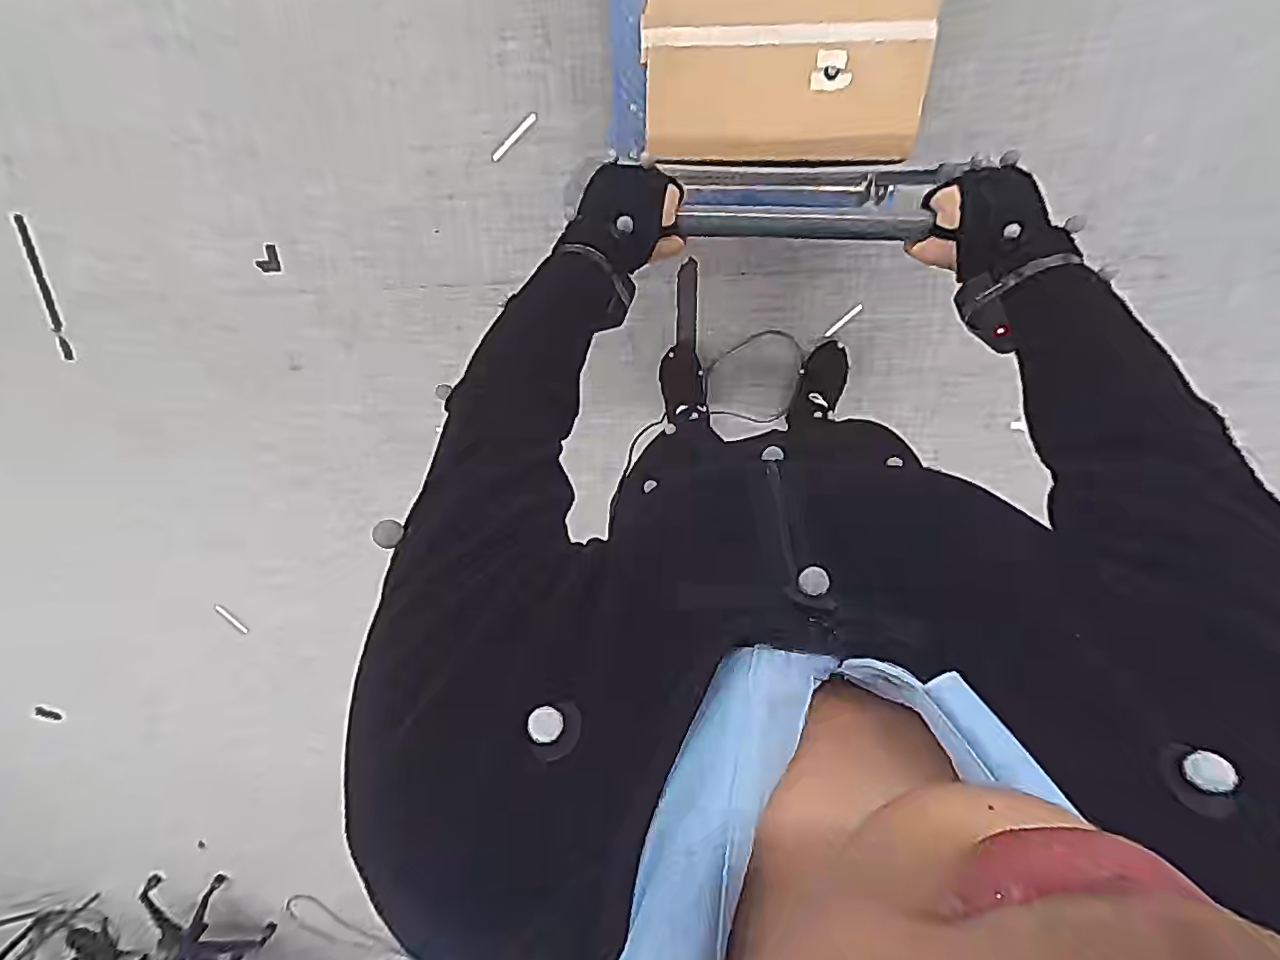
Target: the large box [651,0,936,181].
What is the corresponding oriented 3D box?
[{"bbox_3d":[0.228,-0.702,0.920,0.408,0.320,0.320,2,116,5],"label":"large box"}]
